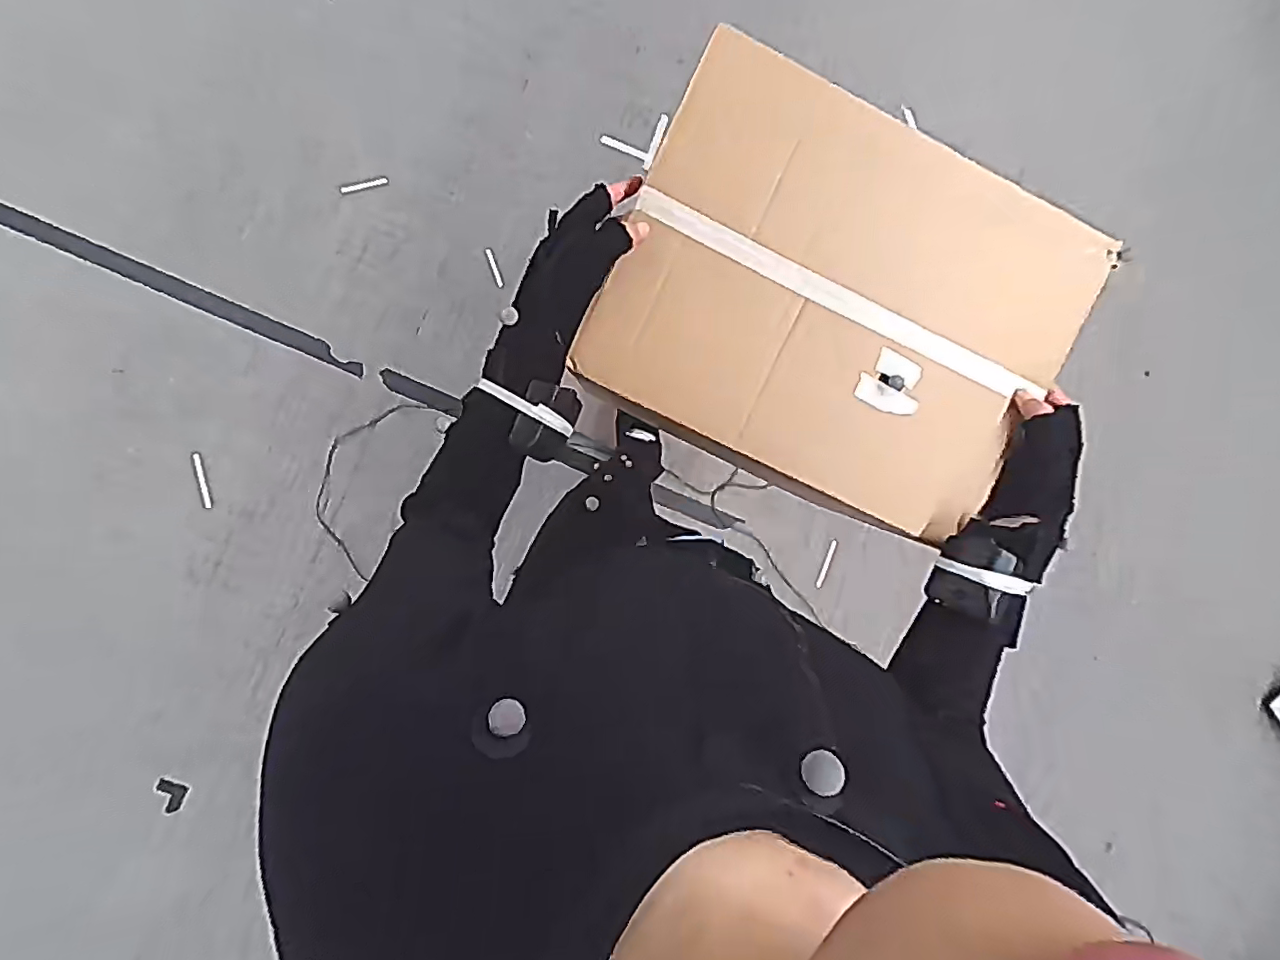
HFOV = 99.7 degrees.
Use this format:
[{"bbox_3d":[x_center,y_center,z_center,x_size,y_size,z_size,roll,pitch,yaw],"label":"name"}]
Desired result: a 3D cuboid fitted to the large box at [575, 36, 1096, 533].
[{"bbox_3d":[0.171,-0.180,0.637,0.408,0.320,0.320,26,95,-6],"label":"large box"}]
